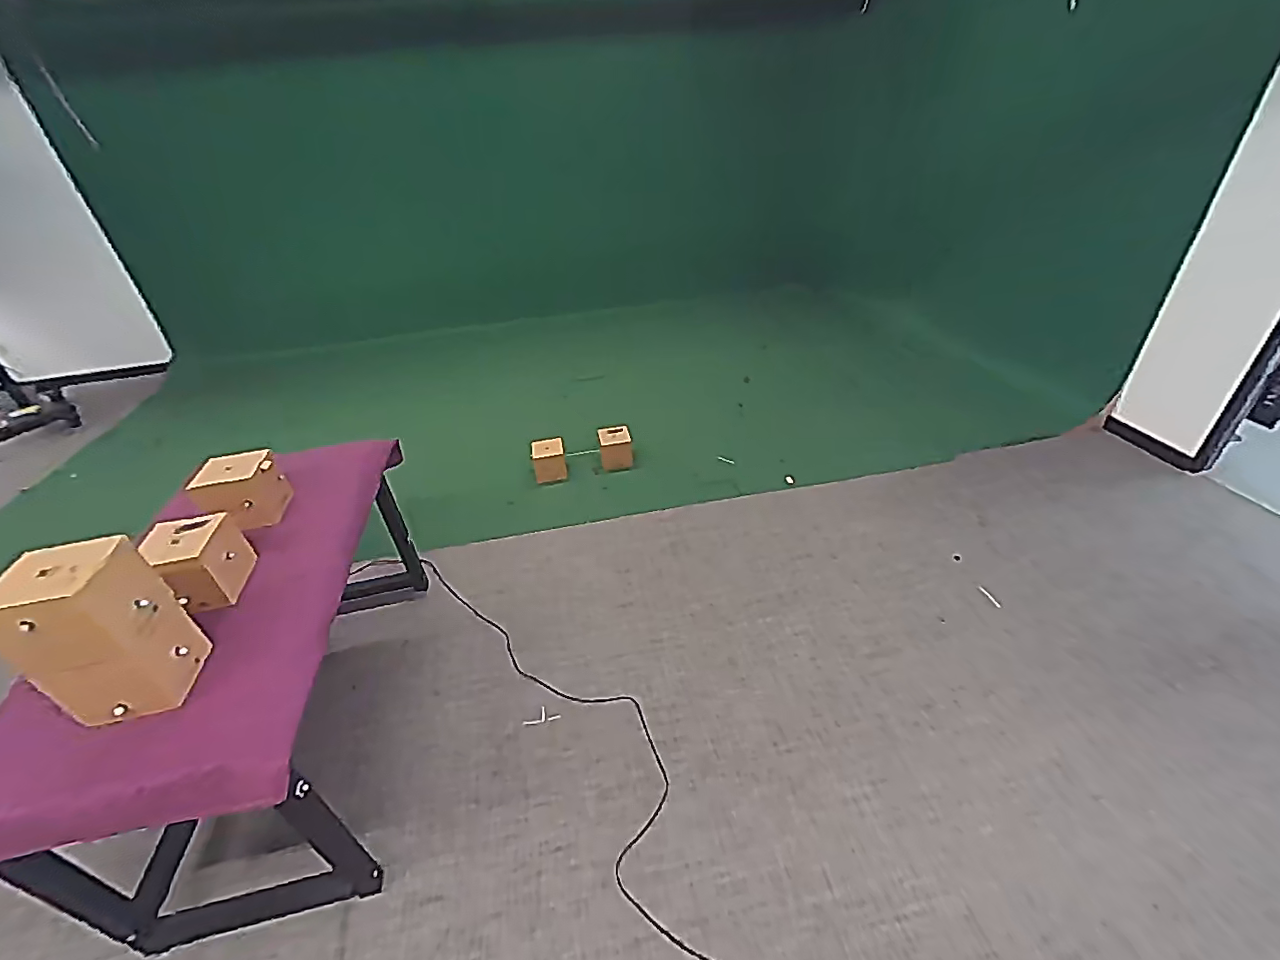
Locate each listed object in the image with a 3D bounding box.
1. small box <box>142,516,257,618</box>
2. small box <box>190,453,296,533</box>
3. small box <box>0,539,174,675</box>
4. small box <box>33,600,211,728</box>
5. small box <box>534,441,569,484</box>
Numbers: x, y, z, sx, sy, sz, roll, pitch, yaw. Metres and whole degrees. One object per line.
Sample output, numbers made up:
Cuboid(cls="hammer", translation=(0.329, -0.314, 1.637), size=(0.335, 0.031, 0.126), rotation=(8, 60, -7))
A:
Cuboid(cls="small box", translation=(-1.098, 0.217, 1.347), size=(0.168, 0.176, 0.179), rotation=(-11, 36, -8))
Cuboid(cls="small box", translation=(-1.166, 0.043, 1.607), size=(0.179, 0.176, 0.168), rotation=(-10, 35, -7))
Cuboid(cls="small box", translation=(-1.050, 0.240, 1.019), size=(0.179, 0.176, 0.168), rotation=(-10, 36, -8))
Cuboid(cls="small box", translation=(-1.040, 0.377, 1.110), size=(0.179, 0.176, 0.168), rotation=(-10, 34, -8))
Cuboid(cls="small box", translation=(-0.488, -0.092, 2.981), size=(0.168, 0.176, 0.179), rotation=(-11, 34, -7))
